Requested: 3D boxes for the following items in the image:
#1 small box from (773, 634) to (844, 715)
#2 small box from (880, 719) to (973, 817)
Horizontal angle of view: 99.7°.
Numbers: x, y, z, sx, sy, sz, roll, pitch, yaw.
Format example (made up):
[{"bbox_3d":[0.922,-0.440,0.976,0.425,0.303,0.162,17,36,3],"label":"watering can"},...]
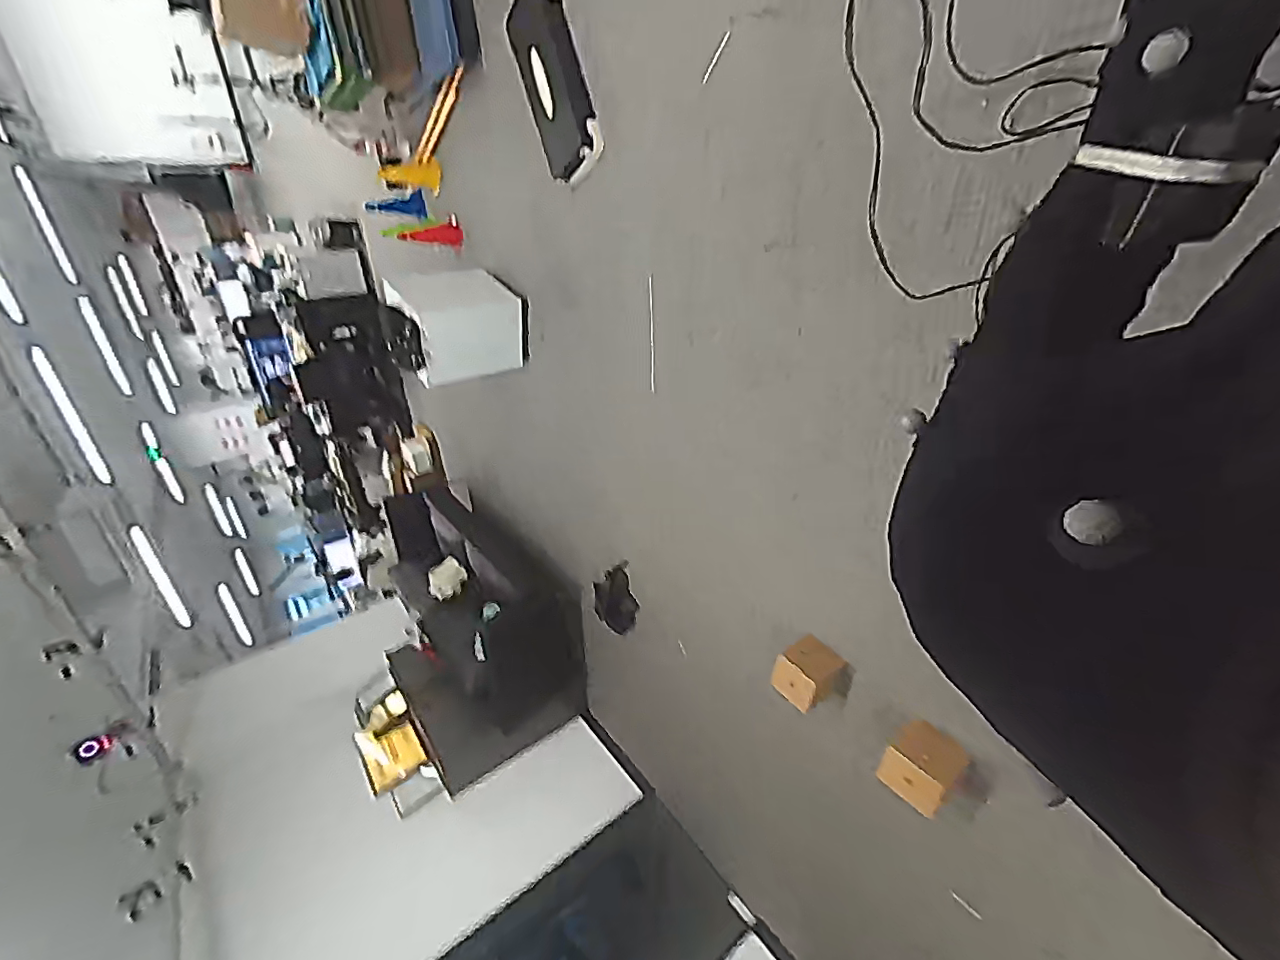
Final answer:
[{"bbox_3d":[0.606,0.689,1.938,0.168,0.176,0.179,36,136,42],"label":"small box"},{"bbox_3d":[0.872,0.865,1.648,0.179,0.176,0.168,30,131,44],"label":"small box"}]
